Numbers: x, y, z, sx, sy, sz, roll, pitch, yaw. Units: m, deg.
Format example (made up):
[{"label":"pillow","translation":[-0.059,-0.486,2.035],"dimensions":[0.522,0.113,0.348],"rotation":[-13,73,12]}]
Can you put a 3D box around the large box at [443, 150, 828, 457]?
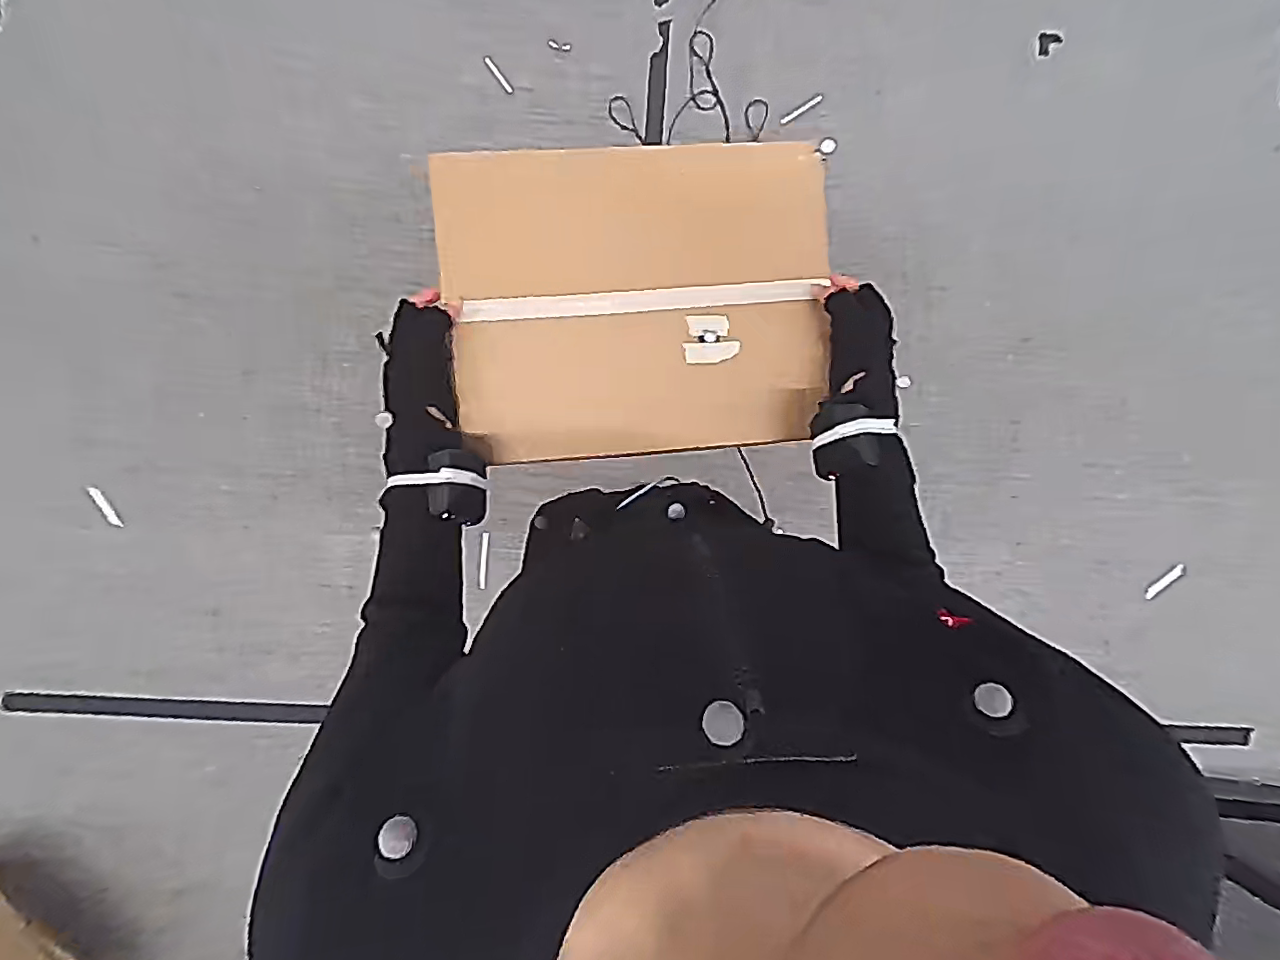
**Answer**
[{"label":"large box","translation":[-0.012,-0.199,0.726],"dimensions":[0.408,0.320,0.320],"rotation":[-4,94,-5]}]
